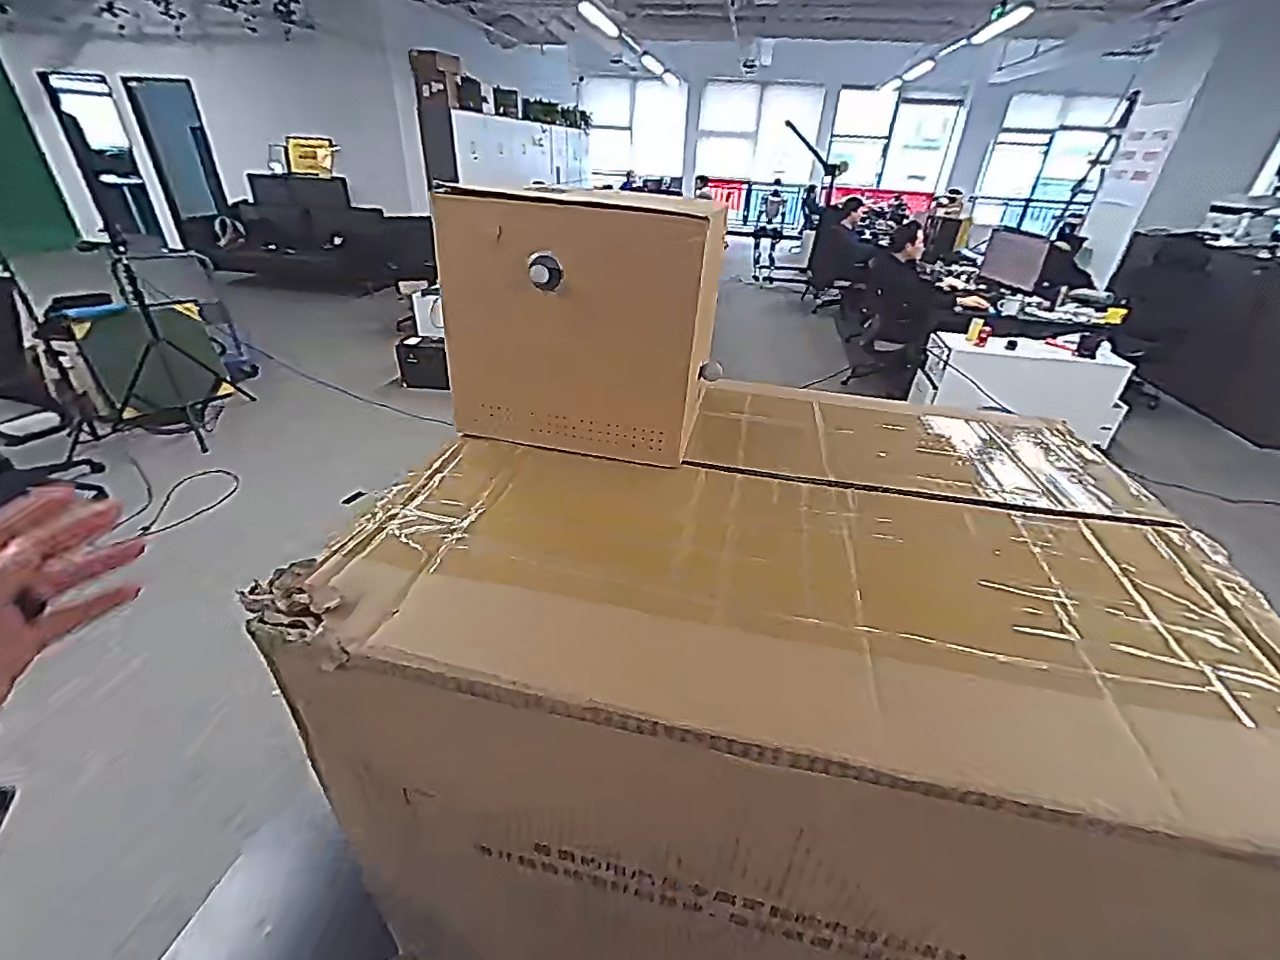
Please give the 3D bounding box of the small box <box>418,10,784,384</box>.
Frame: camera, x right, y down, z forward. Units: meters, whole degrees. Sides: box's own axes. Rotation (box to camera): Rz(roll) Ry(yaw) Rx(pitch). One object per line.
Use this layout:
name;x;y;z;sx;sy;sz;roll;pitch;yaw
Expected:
small box;-0.012;-0.171;0.349;0.179;0.176;0.168;10;30;8
